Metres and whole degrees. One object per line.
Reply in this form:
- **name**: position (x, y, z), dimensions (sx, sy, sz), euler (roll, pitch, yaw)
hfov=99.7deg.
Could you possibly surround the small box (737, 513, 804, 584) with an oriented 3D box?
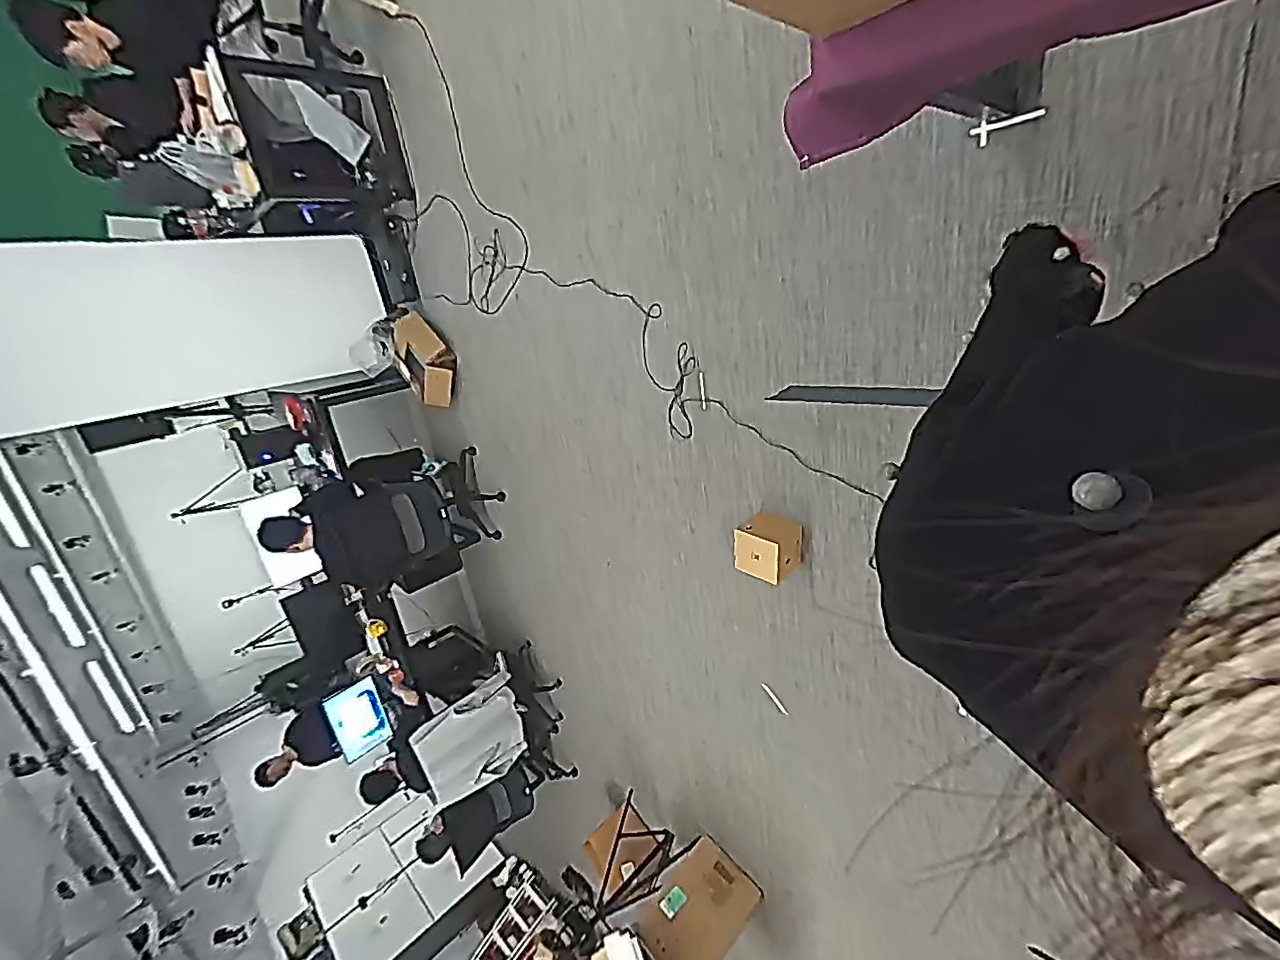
- **small box**: position (0.459, 0.233, 1.897), dimensions (0.179, 0.176, 0.168), euler (19, 124, 42)
